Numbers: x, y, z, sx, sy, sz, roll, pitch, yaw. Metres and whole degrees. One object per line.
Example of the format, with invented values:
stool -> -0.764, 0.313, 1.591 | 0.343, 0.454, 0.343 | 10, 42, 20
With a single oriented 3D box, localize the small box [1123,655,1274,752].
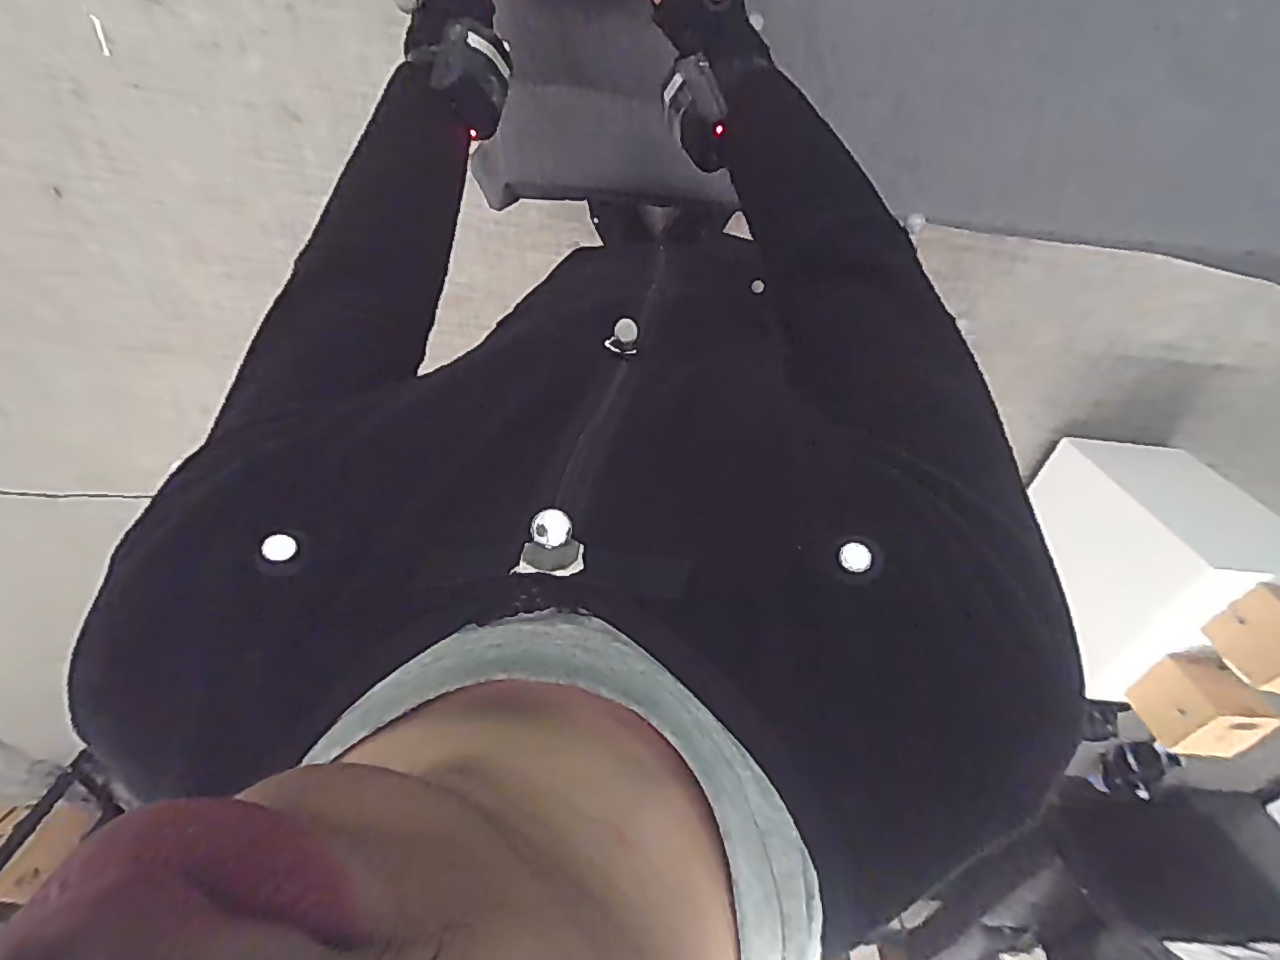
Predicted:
small box -> 1.405, 0.567, 1.379 | 0.168, 0.176, 0.179 | 5, 125, -5

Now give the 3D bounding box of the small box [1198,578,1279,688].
small box -> 1.449, 0.351, 1.230 | 0.168, 0.176, 0.179 | 8, 125, -8
